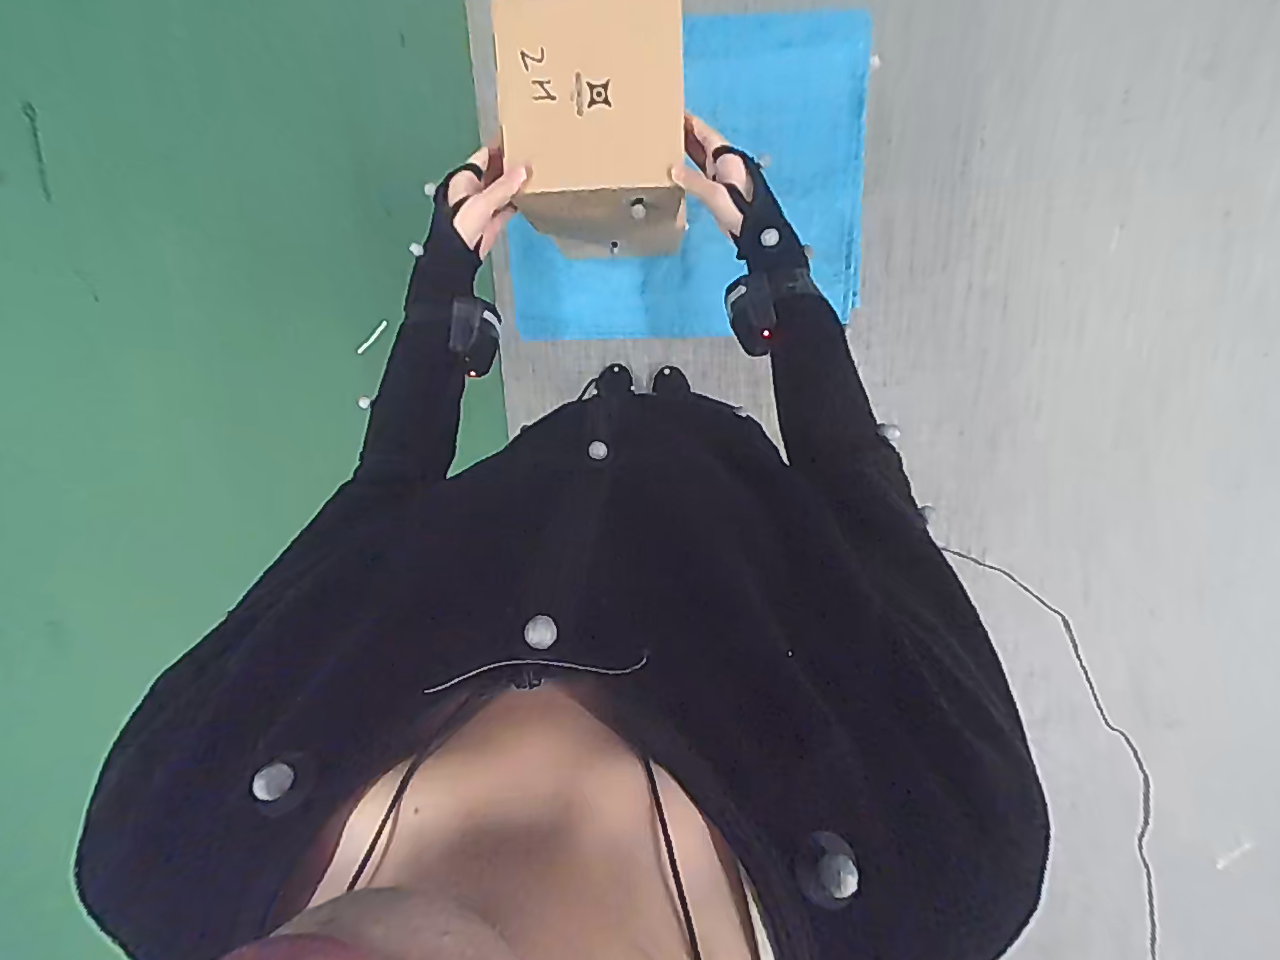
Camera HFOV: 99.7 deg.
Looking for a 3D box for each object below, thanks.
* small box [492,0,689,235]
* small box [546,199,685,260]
[{"bbox_3d":[-0.044,-0.368,0.573,0.179,0.176,0.168,-2,101,1],"label":"small box"},{"bbox_3d":[-0.033,-0.403,0.733,0.179,0.176,0.168,-2,101,2],"label":"small box"}]
